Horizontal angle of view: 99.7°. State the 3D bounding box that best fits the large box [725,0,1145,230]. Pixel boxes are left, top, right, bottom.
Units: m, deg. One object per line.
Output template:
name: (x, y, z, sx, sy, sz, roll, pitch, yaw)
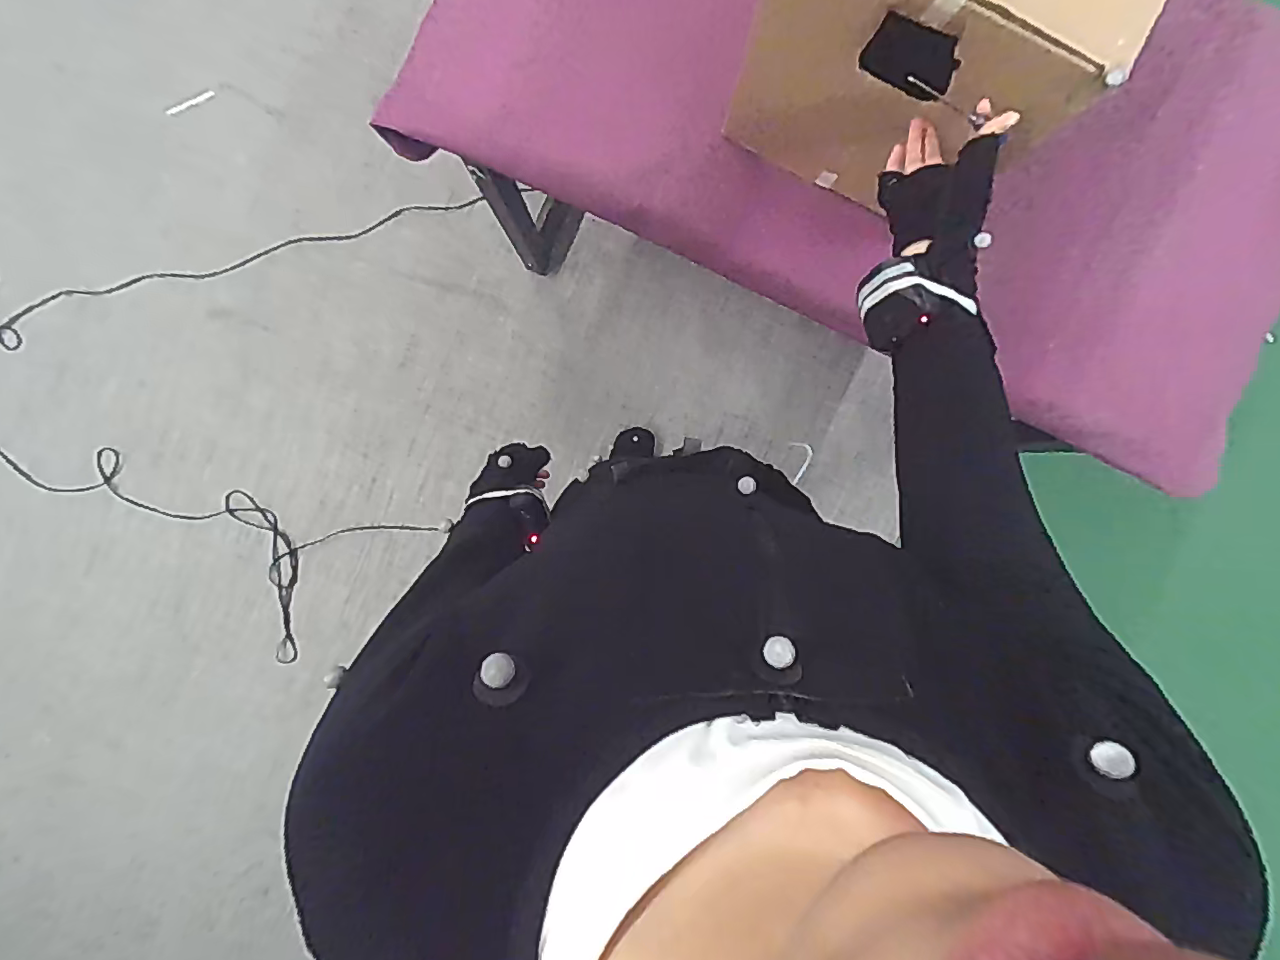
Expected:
large box: (0.335, -0.579, 0.595, 0.320, 0.320, 0.408, 26, 93, -1)
